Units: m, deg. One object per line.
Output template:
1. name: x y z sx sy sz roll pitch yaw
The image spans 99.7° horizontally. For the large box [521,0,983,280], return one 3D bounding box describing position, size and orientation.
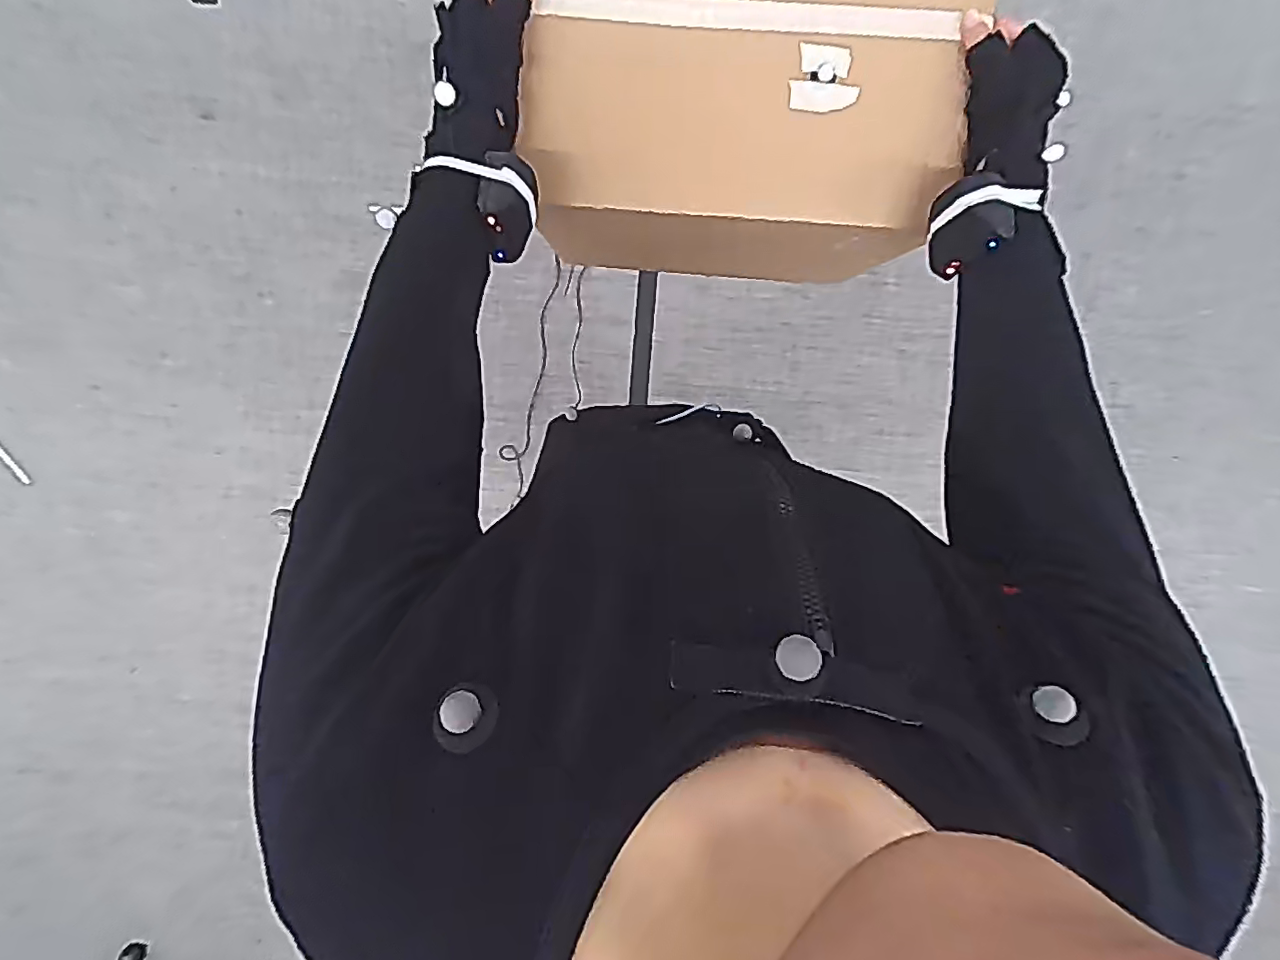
1. large box: 0.094 -0.423 0.617 0.408 0.320 0.320 4 102 0
